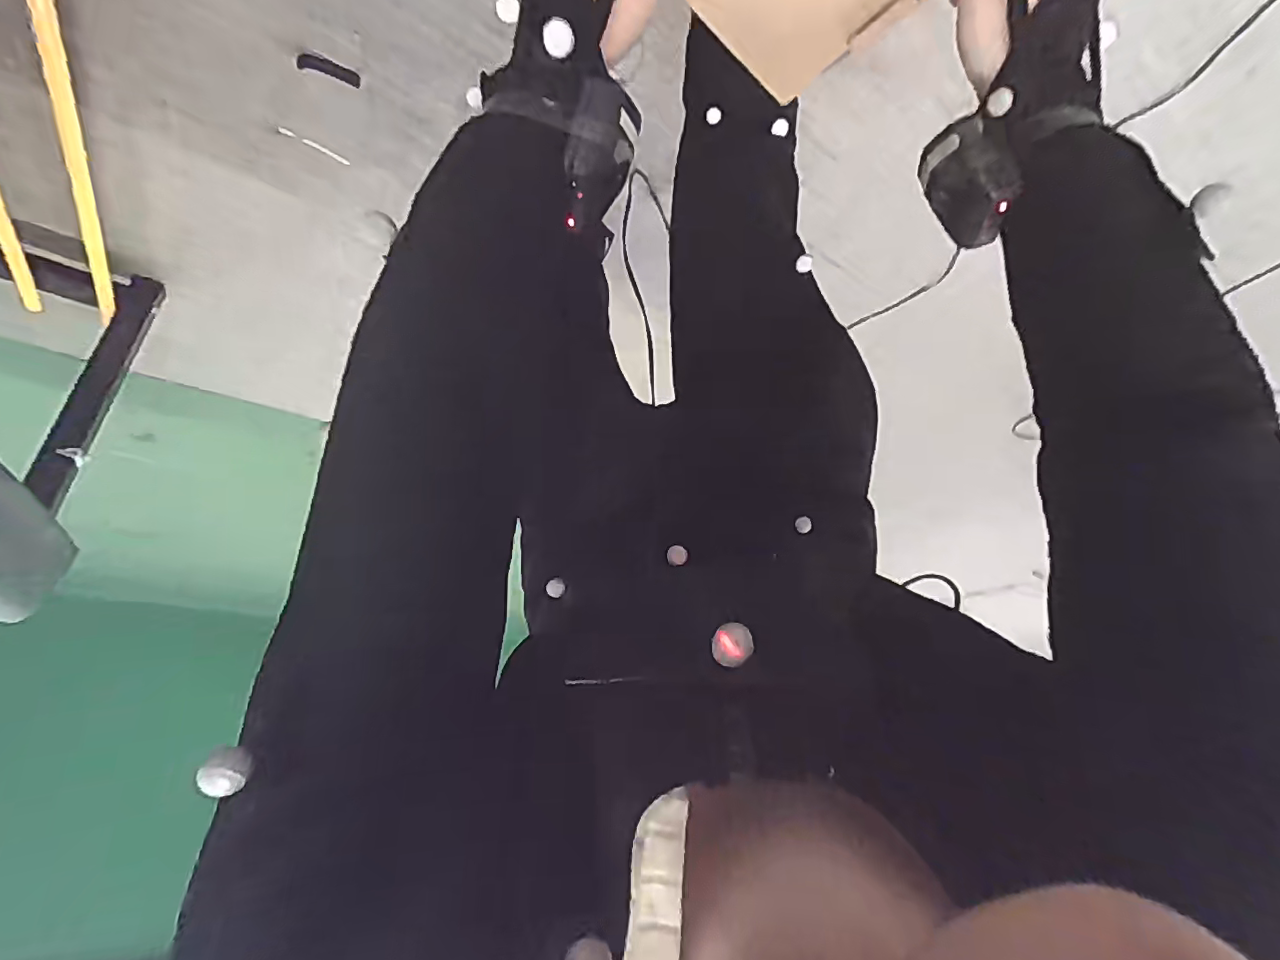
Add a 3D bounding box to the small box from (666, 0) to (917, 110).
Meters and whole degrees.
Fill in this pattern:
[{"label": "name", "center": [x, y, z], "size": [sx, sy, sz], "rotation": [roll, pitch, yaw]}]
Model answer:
[{"label": "small box", "center": [0.100, -0.399, 0.335], "size": [0.179, 0.176, 0.168], "rotation": [18, 160, -36]}]
